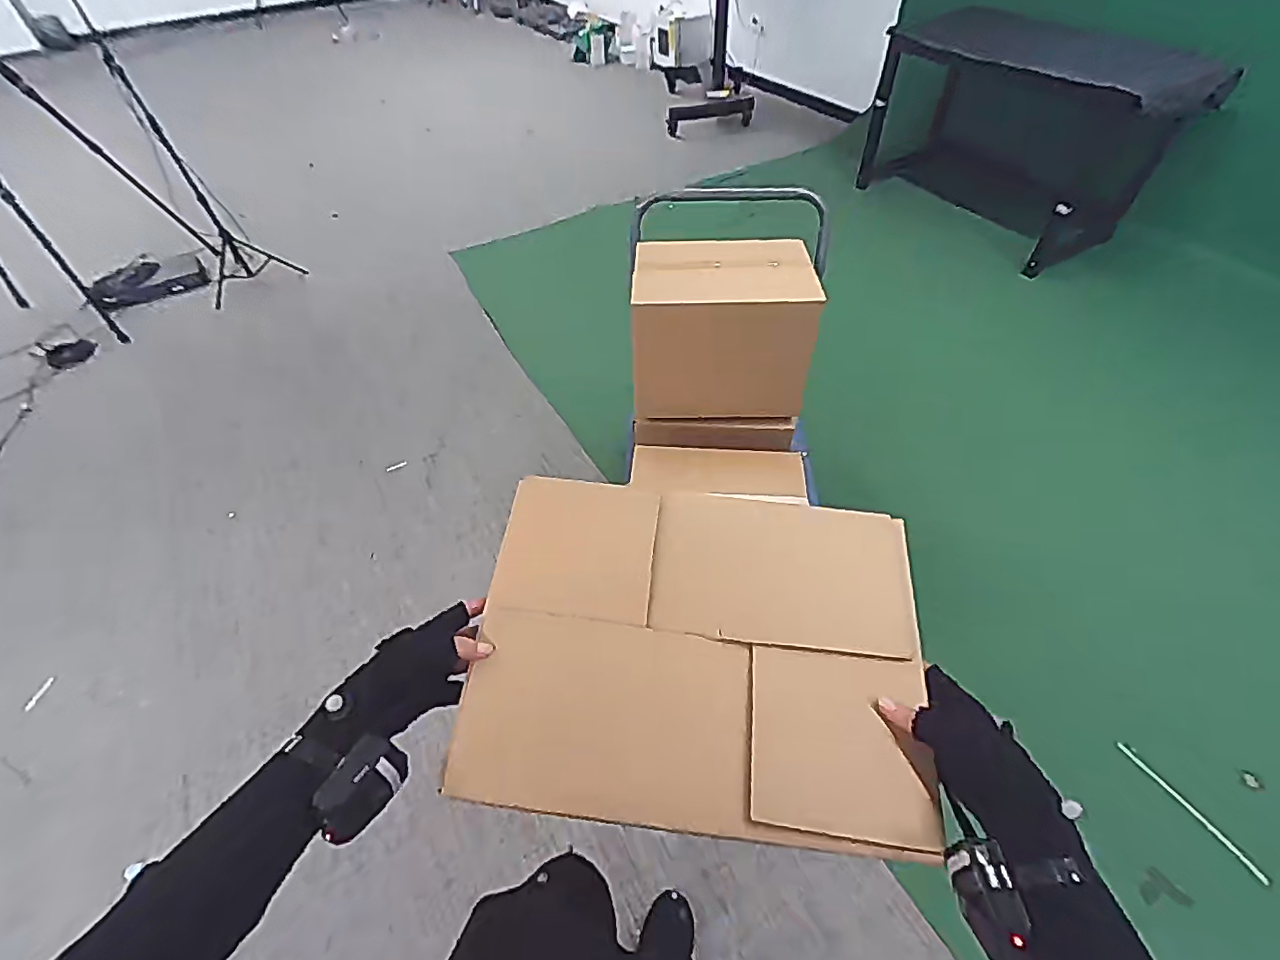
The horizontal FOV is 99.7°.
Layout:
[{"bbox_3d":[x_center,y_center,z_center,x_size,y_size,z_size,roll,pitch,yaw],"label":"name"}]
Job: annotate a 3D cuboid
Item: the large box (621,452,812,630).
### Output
[{"bbox_3d":[0.168,0.152,1.327,0.408,0.320,0.320,4,49,4],"label":"large box"}]
